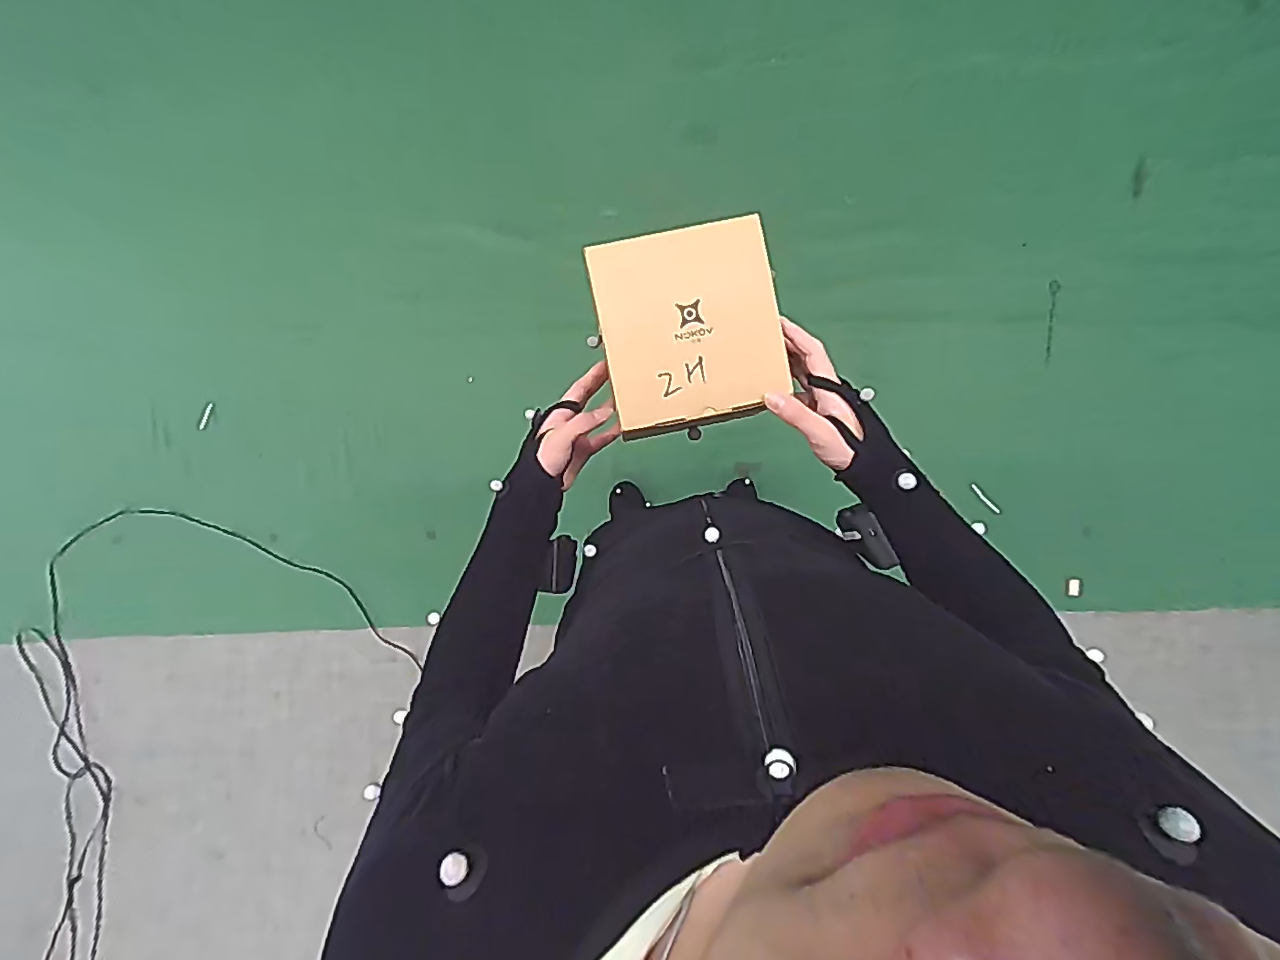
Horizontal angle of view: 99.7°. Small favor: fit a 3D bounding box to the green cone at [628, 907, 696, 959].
[{"bbox_3d":[0.058,1.380,1.447,0.202,0.368,0.200,-1,90,3],"label":"green cone"}]
